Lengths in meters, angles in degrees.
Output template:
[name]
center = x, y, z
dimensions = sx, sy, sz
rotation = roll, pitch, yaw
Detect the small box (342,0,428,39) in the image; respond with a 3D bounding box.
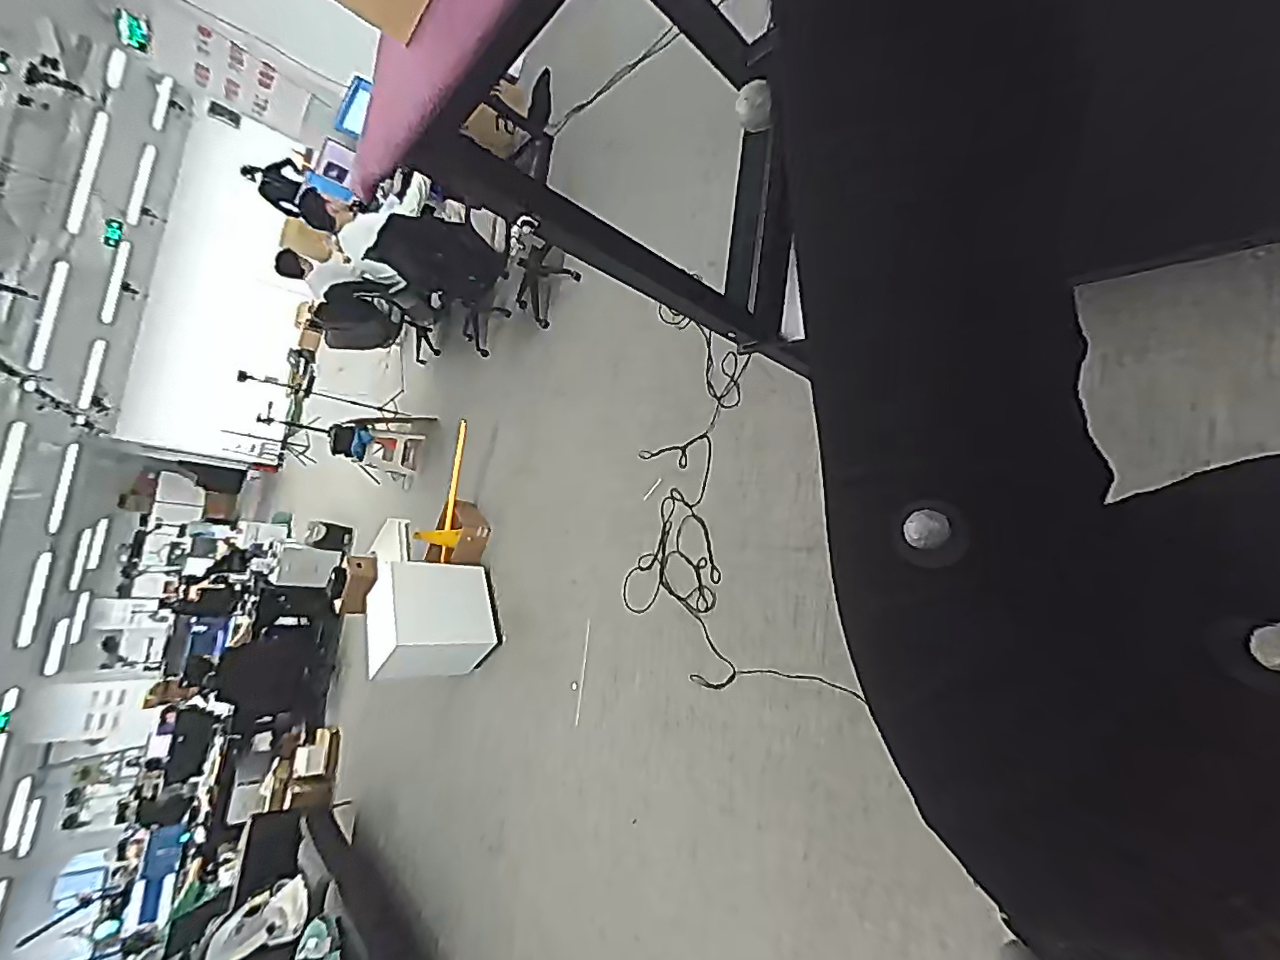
[small box]
center = -0.247, -0.552, 0.470
dimensions = 0.179, 0.176, 0.168
rotation = -1, 81, 49
